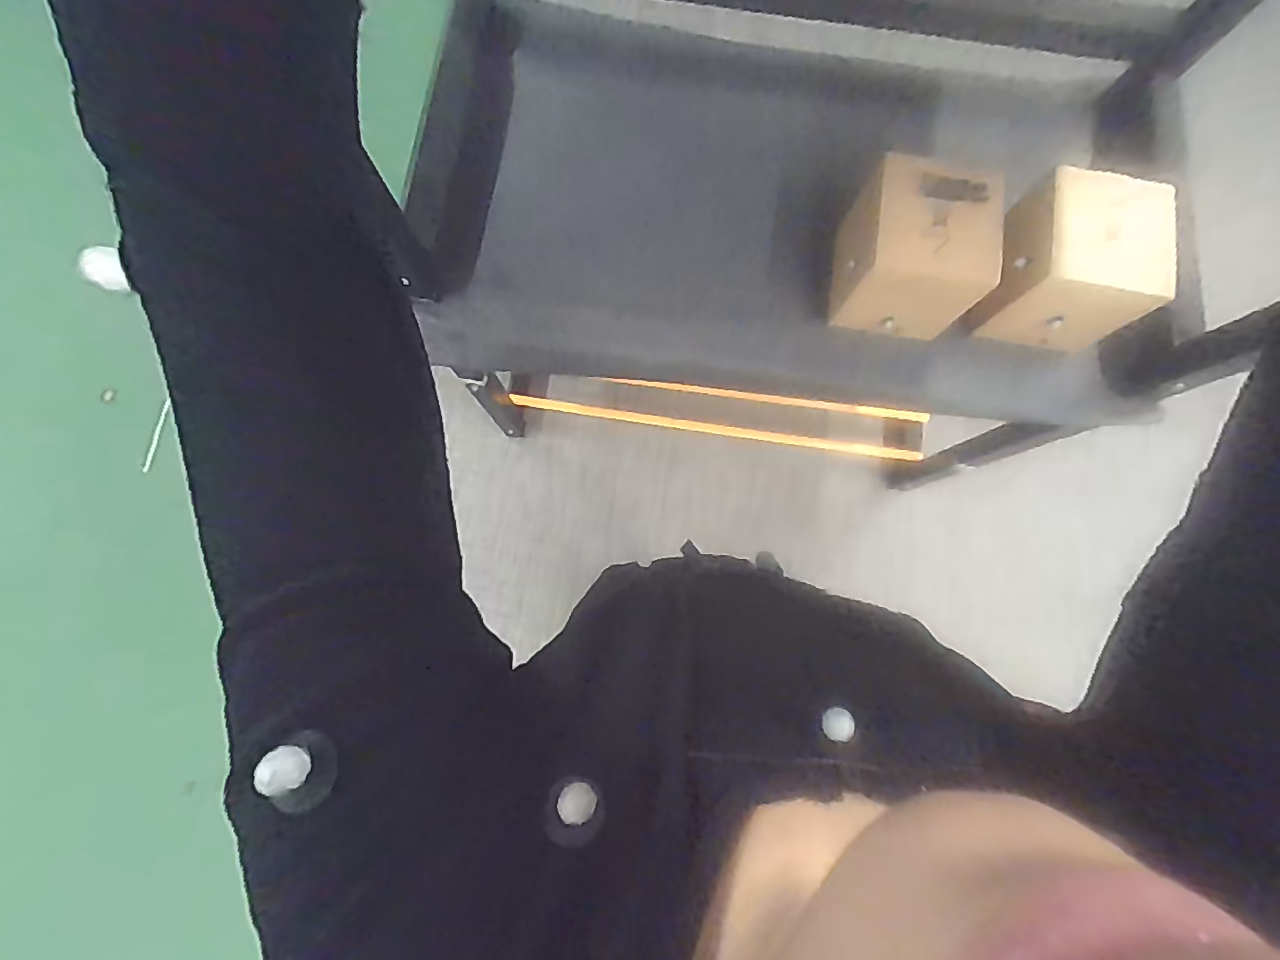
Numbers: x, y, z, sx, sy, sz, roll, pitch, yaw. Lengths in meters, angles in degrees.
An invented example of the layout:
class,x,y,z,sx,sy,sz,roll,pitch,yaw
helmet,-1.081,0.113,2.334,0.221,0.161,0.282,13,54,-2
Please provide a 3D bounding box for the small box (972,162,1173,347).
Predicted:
class,x,y,z,sx,sy,sz,roll,pitch,yaw
small box,0.619,-0.317,0.793,0.168,0.176,0.179,11,78,1
